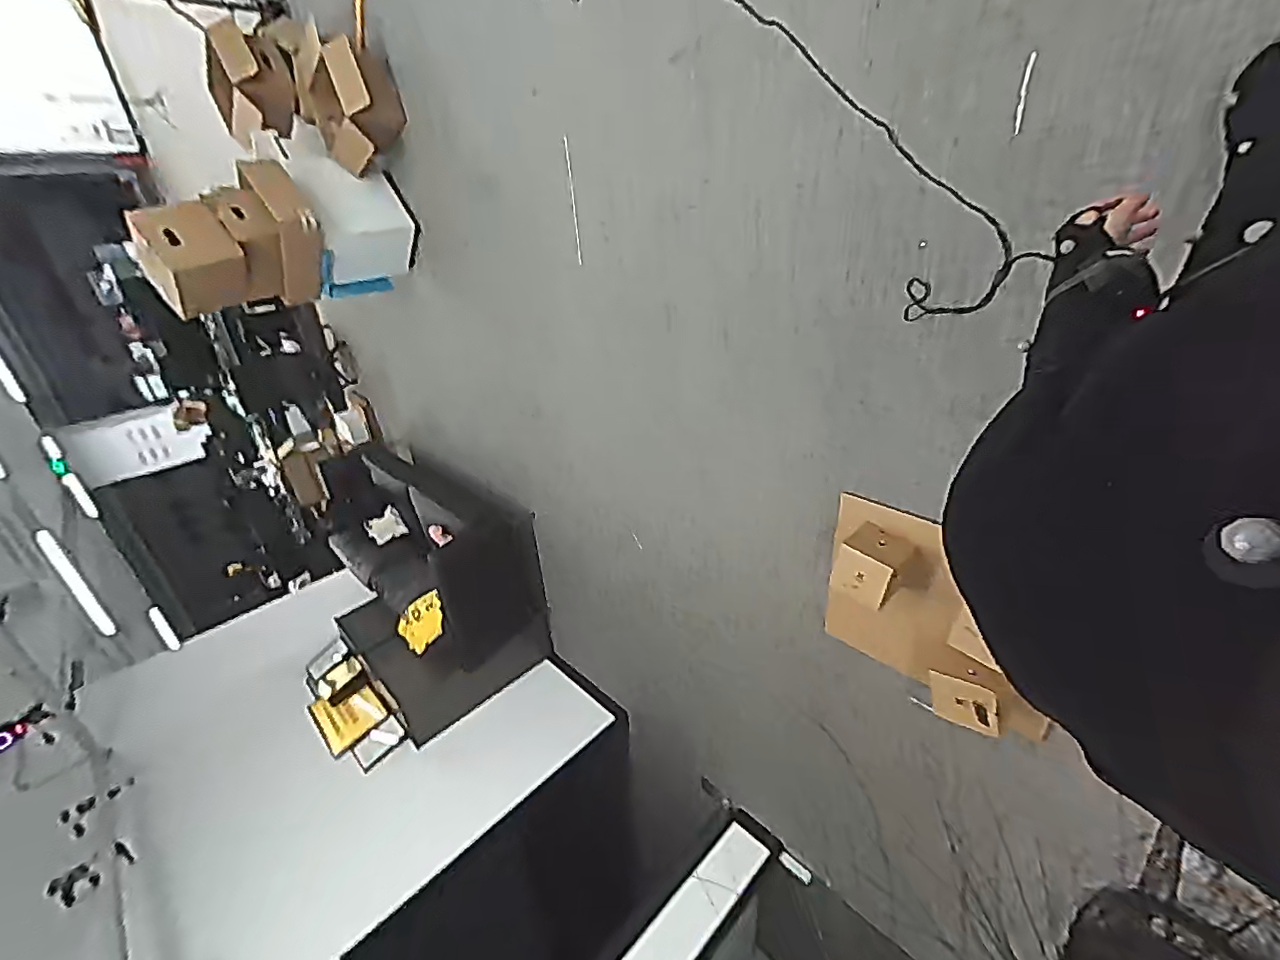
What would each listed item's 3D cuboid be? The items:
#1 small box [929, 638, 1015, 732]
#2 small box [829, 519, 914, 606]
[{"bbox_3d":[0.977,0.589,1.583,0.179,0.176,0.168,7,117,50],"label":"small box"},{"bbox_3d":[0.718,0.247,1.673,0.168,0.176,0.179,31,134,37],"label":"small box"}]
